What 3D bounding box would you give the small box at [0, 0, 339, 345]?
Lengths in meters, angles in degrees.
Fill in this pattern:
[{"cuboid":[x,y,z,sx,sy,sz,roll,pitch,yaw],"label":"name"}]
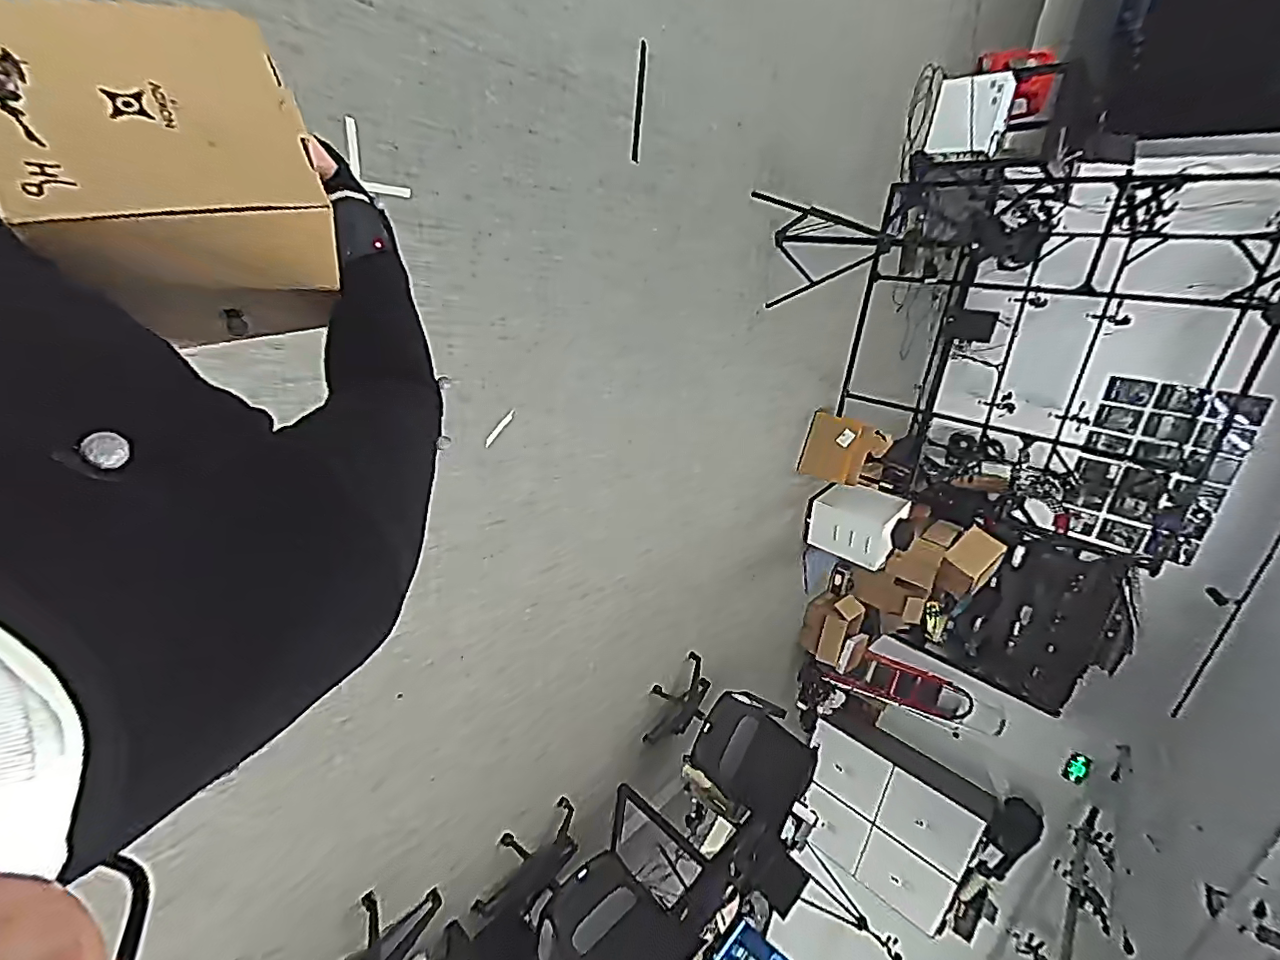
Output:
[{"cuboid":[-0.367,-0.233,0.446,0.179,0.176,0.168,-20,83,-30],"label":"small box"}]
